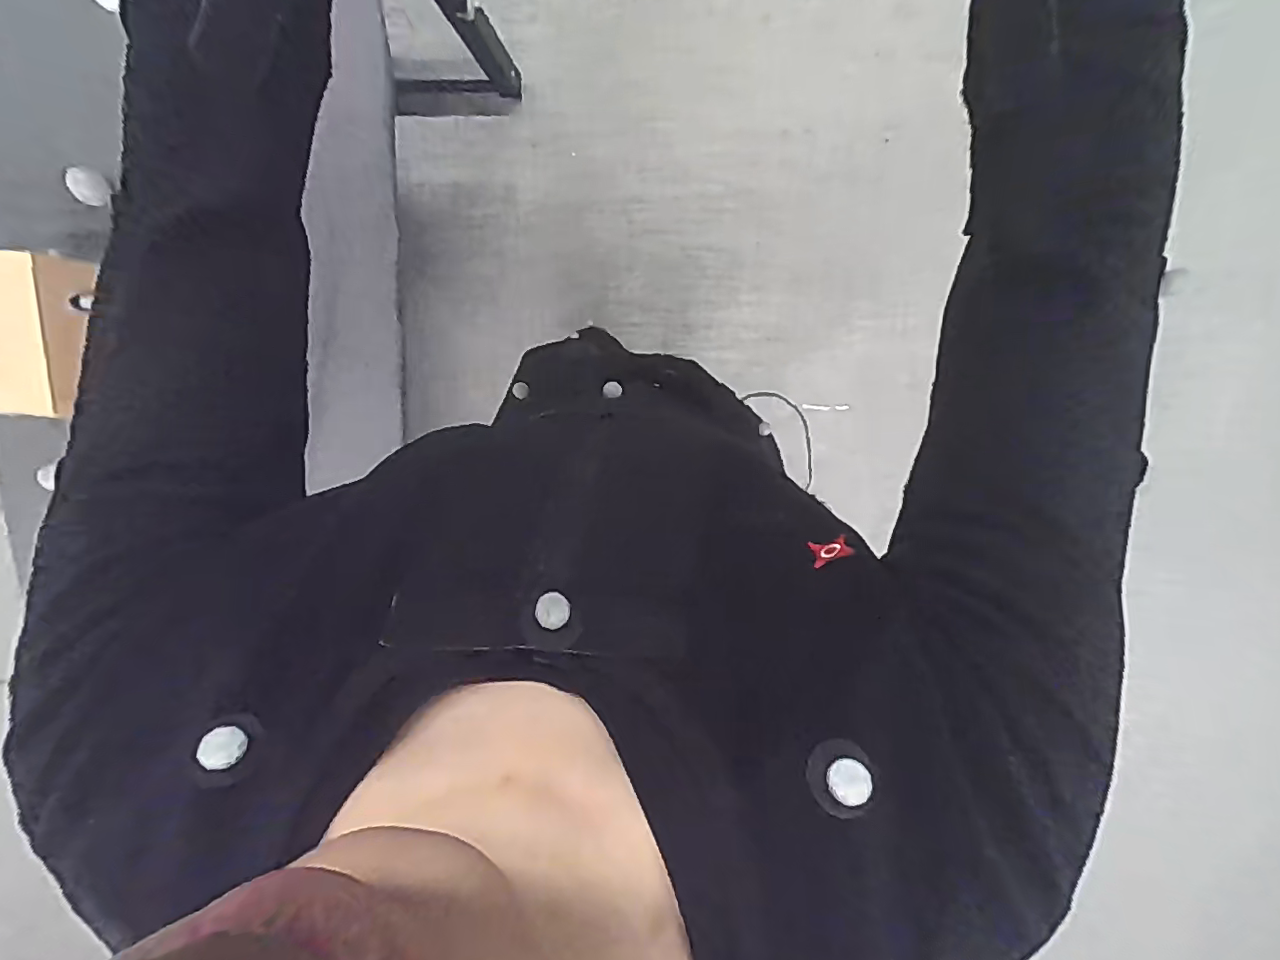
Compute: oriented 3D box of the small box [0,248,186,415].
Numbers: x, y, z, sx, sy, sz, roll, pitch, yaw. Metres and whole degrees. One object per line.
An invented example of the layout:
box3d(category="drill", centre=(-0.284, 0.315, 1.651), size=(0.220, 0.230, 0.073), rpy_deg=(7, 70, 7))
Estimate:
box3d(category="small box", centre=(-0.715, -0.180, 0.670), size=(0.168, 0.176, 0.179), rpy_deg=(5, 102, 4))
